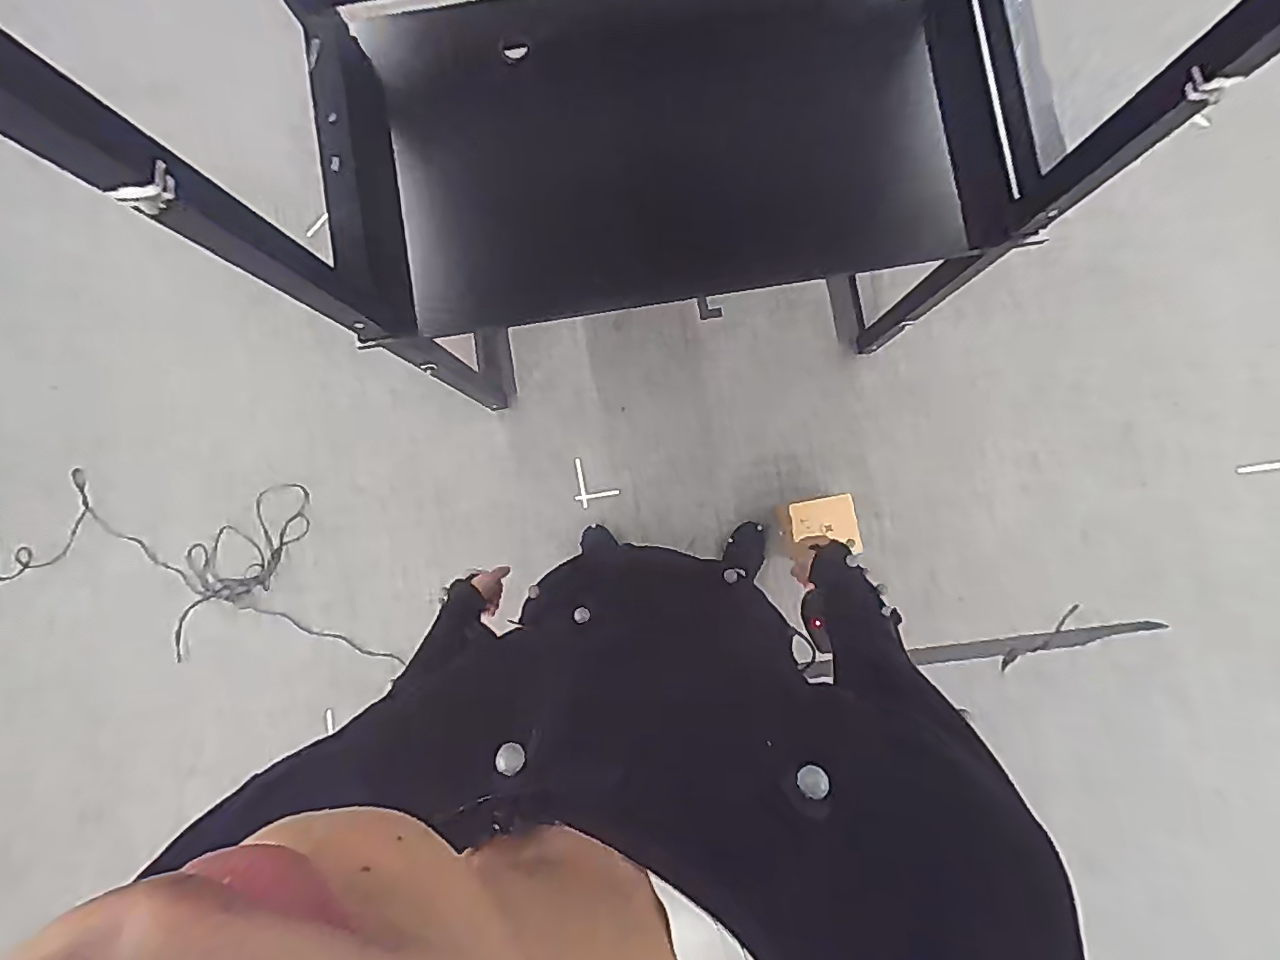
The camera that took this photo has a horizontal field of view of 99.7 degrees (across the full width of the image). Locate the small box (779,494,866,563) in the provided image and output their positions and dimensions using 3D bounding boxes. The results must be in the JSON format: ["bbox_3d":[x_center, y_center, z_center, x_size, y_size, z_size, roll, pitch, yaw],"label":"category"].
[{"bbox_3d":[0.511,0.134,1.534,0.179,0.176,0.168,-11,86,3],"label":"small box"}]
